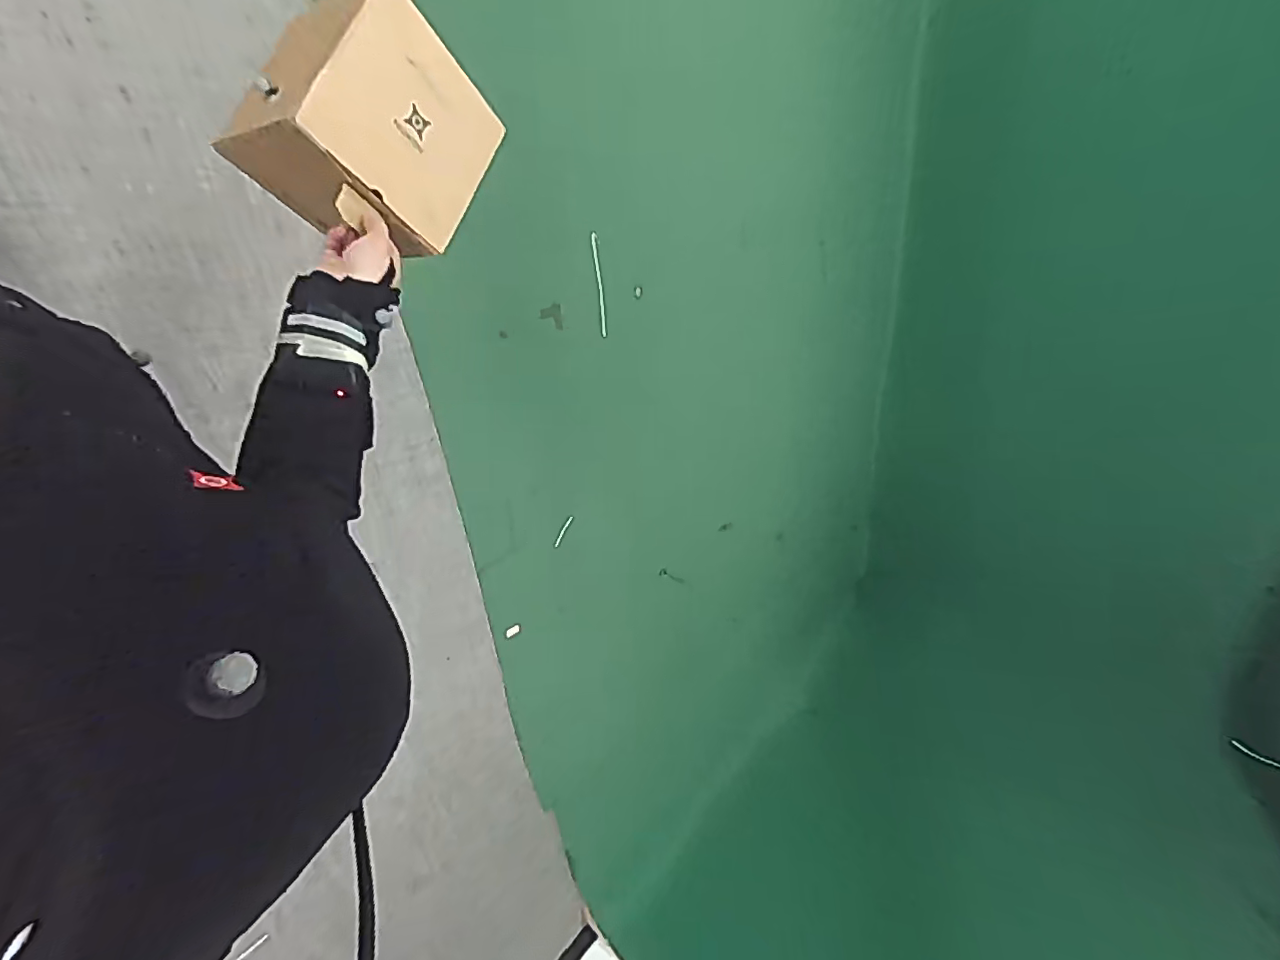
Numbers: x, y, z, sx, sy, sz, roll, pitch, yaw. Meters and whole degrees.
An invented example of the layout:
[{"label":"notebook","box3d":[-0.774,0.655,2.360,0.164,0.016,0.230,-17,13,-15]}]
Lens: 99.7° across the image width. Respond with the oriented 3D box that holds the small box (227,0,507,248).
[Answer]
[{"label":"small box","box3d":[-0.277,-0.360,0.554,0.168,0.176,0.179,38,69,-56]}]
